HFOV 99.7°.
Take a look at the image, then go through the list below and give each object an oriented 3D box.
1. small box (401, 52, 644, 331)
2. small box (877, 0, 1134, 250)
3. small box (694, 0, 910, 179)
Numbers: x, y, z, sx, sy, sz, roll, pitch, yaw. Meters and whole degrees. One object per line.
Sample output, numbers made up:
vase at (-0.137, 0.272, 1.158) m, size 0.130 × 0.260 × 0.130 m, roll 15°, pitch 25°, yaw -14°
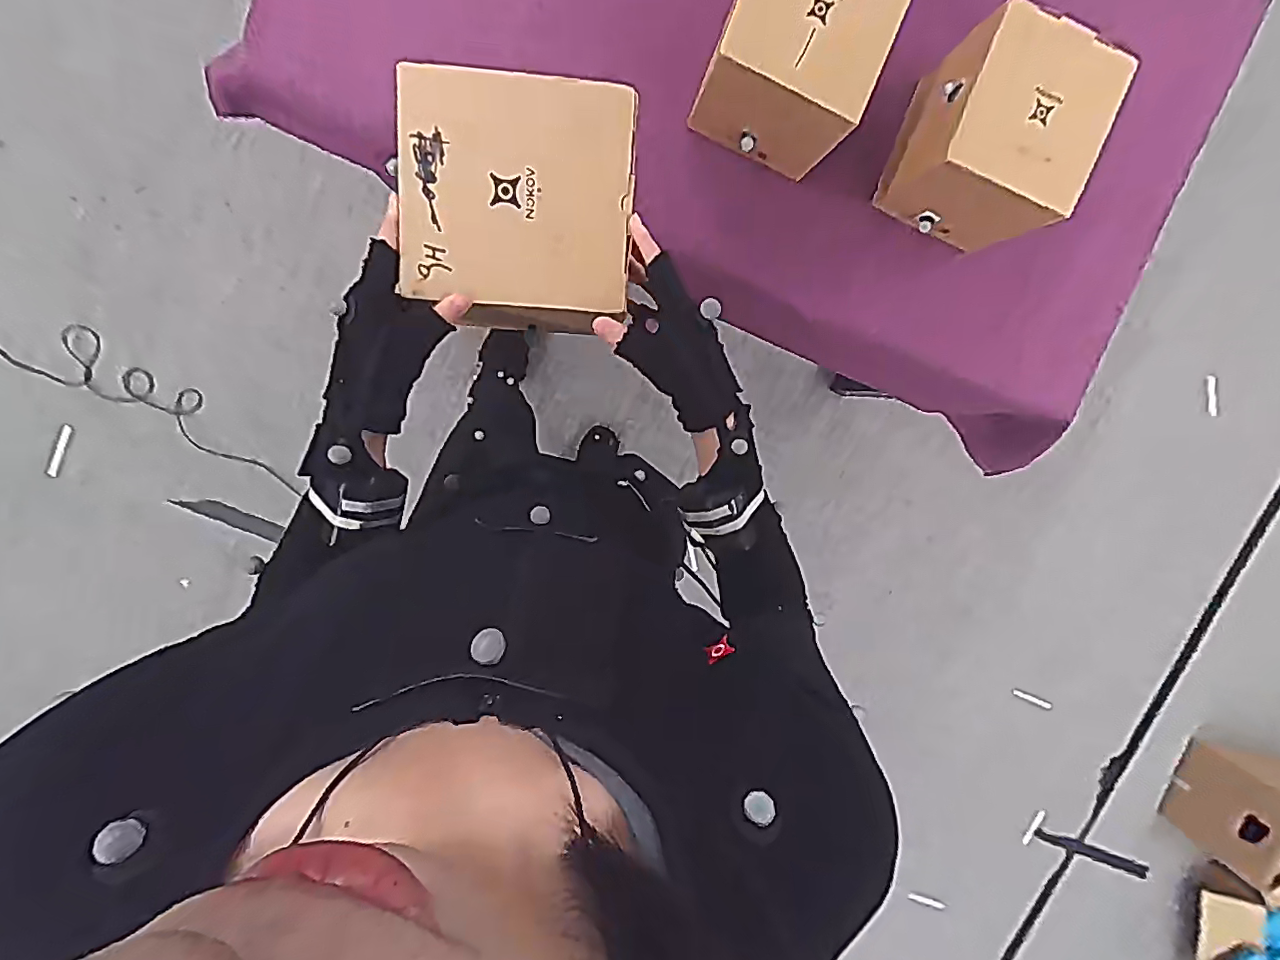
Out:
small box at (-0.097, -0.232, 0.485) m, size 0.179 × 0.176 × 0.168 m, roll 3°, pitch 98°, yaw -6°
small box at (0.428, -0.415, 0.666) m, size 0.168 × 0.176 × 0.179 m, roll 19°, pitch 97°, yaw -8°
small box at (0.176, -0.493, 0.624) m, size 0.168 × 0.176 × 0.179 m, roll 21°, pitch 97°, yaw -9°
